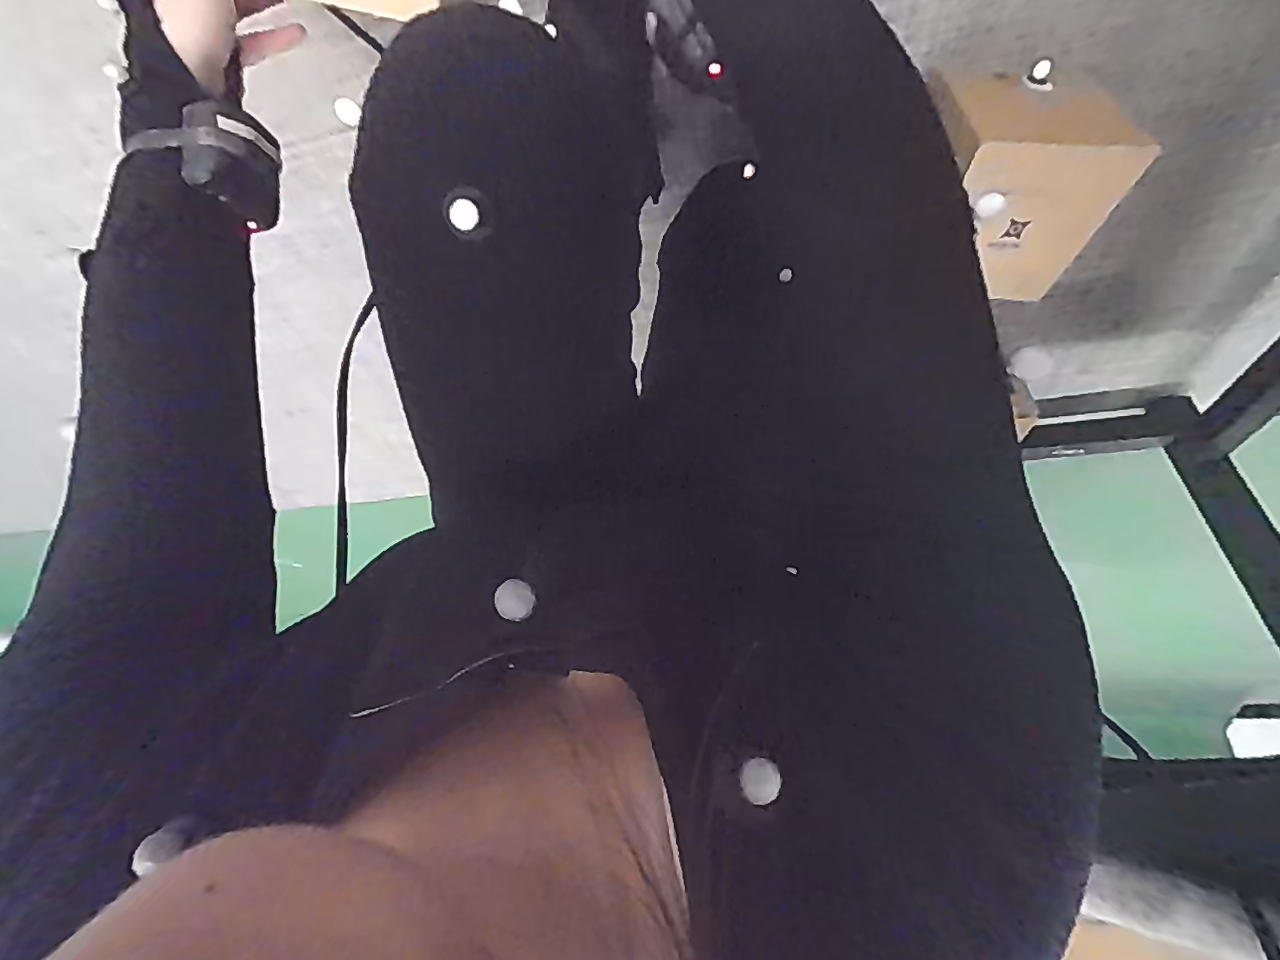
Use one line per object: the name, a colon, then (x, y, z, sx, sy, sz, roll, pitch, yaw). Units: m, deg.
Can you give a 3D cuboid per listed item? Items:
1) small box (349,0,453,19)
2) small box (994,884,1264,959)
small box: (-0.221, -0.482, 0.387, 0.179, 0.176, 0.168, 7, 147, -8)
small box: (0.488, 0.497, 0.522, 0.179, 0.176, 0.168, 20, 141, -27)
